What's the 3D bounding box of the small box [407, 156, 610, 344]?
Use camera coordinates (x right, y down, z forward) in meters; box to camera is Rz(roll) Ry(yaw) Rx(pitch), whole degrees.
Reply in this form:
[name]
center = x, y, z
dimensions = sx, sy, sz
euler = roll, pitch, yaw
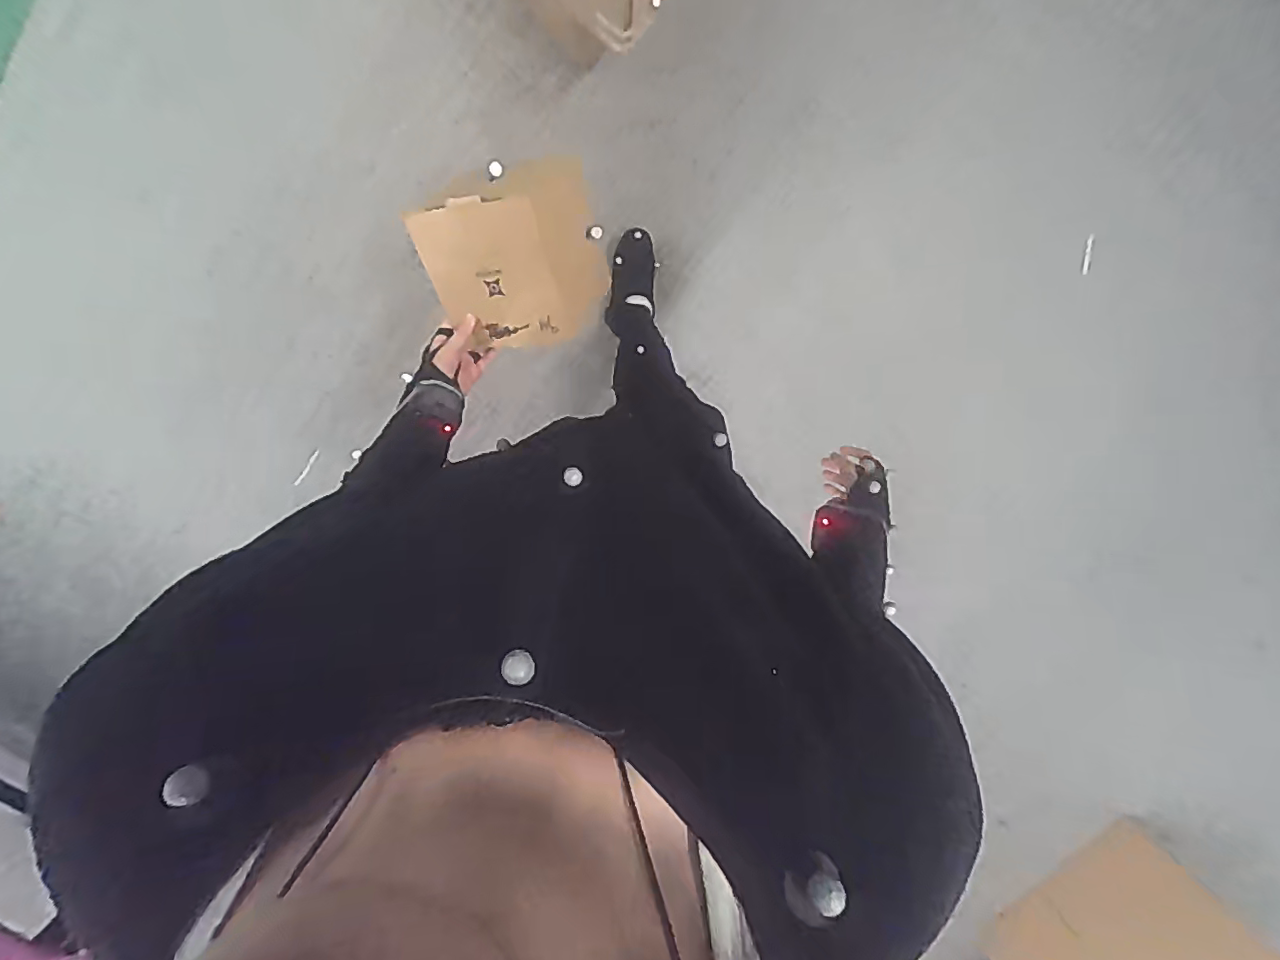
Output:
[small box]
center = -0.150, -0.293, 0.687
dimensions = 0.168, 0.176, 0.179
euler = 2, 133, 17
